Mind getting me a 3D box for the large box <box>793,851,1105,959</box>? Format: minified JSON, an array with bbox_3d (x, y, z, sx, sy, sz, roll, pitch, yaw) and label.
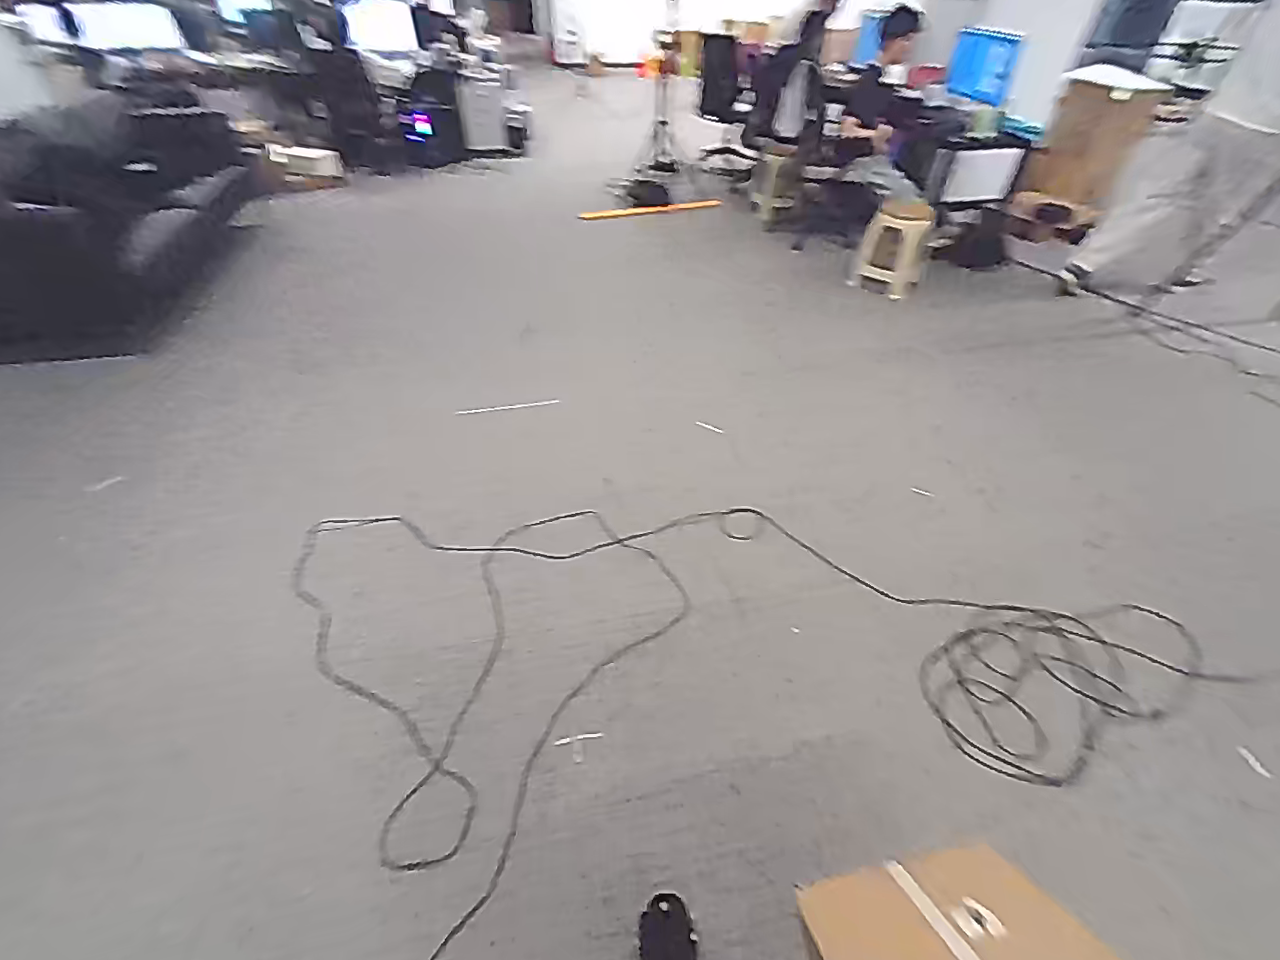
[{"bbox_3d":[0.426,0.738,0.626,0.320,0.408,0.320,-11,85,-4],"label":"large box"}]
